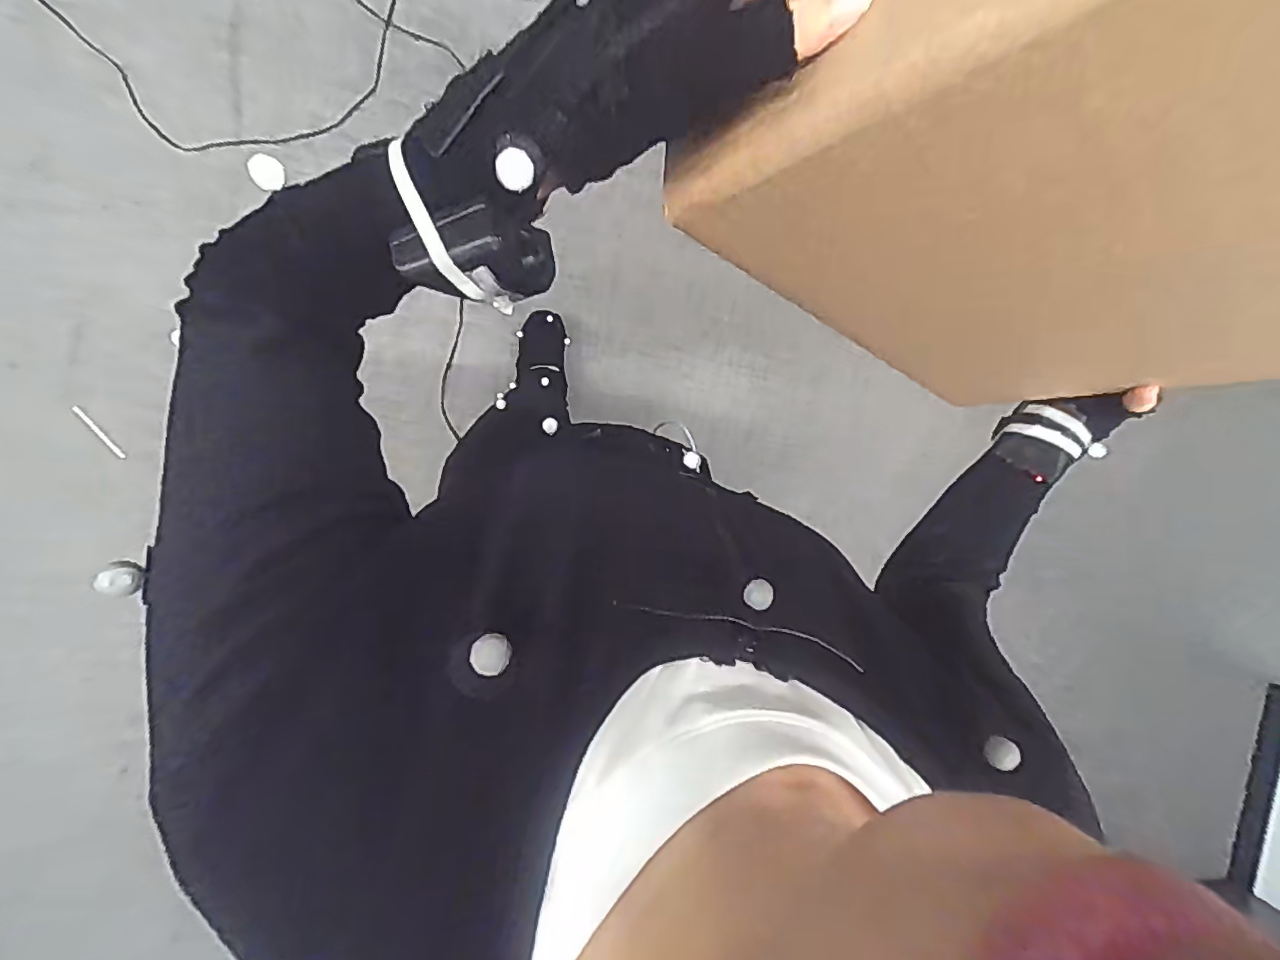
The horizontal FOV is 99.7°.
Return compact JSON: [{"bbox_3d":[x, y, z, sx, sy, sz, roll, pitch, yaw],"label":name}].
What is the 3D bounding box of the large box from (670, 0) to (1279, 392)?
[{"bbox_3d":[0.271,-0.264,0.314,0.408,0.320,0.320,13,83,-40],"label":"large box"}]
